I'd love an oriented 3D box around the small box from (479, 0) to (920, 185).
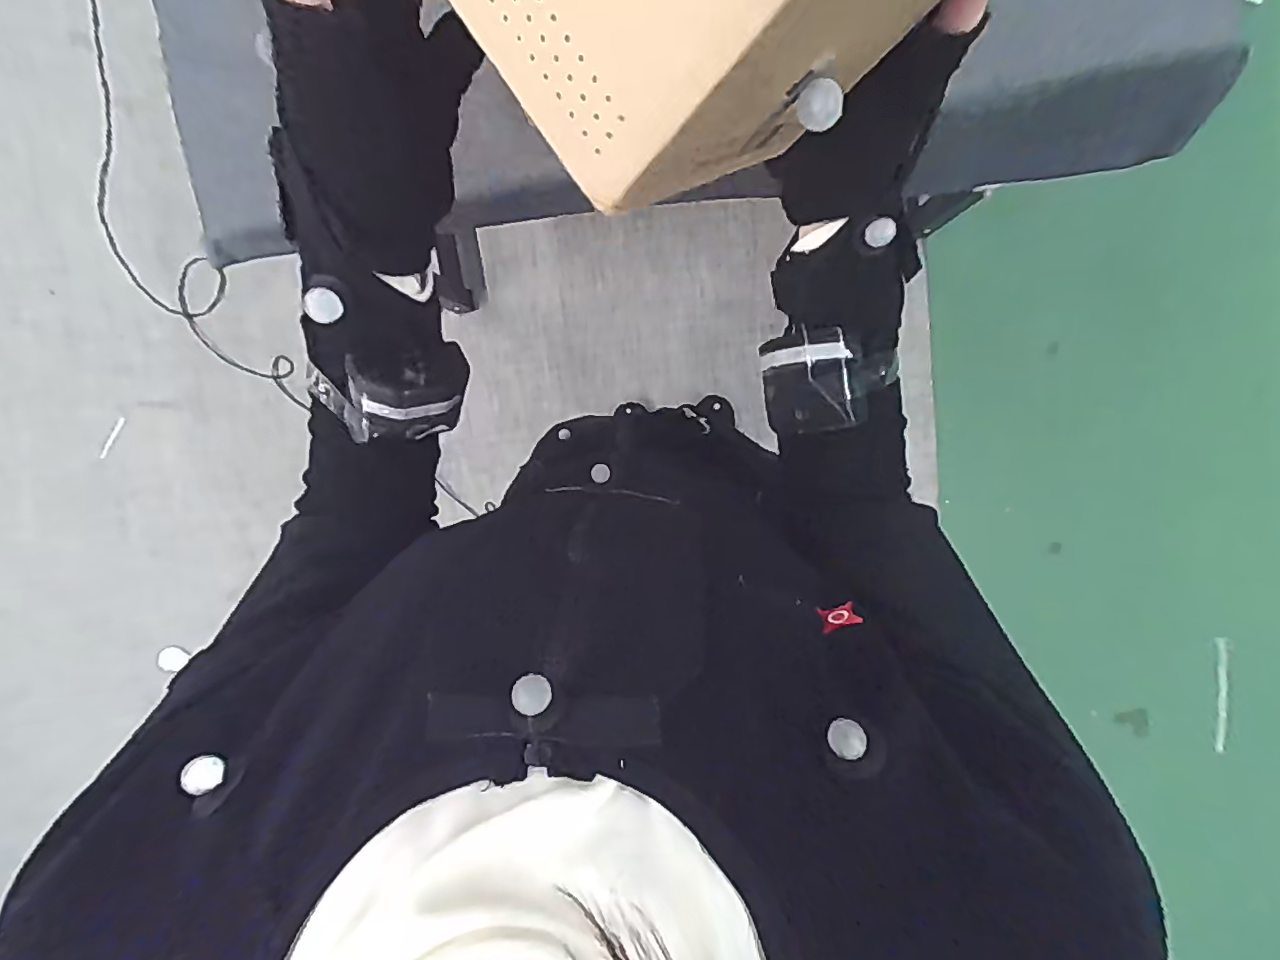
[{"bbox_3d":[0.029,-0.230,0.159,0.176,0.168,0.179,-26,105,48],"label":"small box"}]
